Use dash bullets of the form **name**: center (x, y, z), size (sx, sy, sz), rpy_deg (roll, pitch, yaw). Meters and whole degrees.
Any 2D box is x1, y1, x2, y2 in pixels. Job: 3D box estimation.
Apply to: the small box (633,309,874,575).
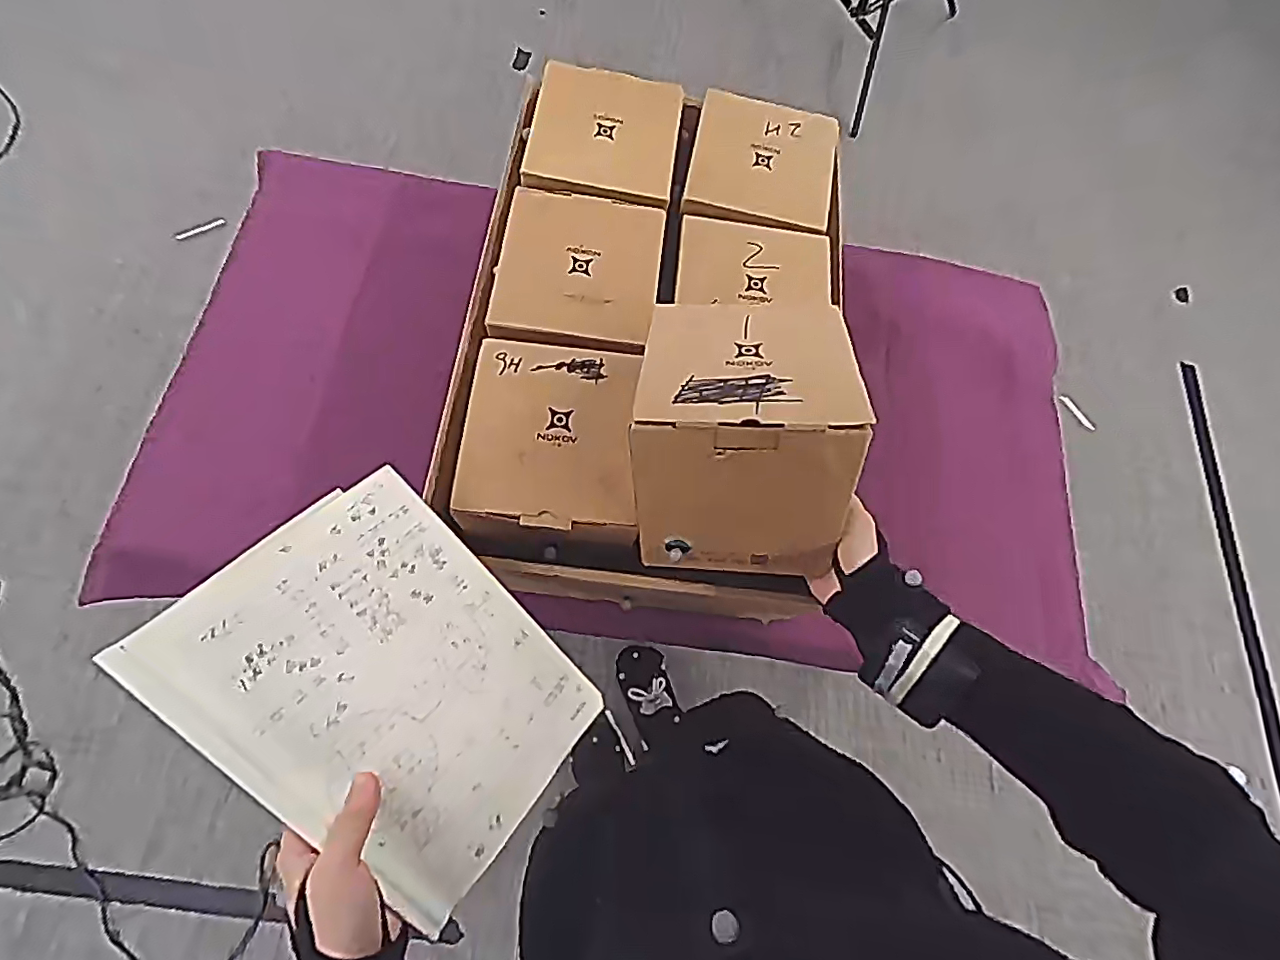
- **small box**: center (0.092, -0.033, 0.479), size (0.168, 0.176, 0.179), rpy_deg (3, 44, 7)
